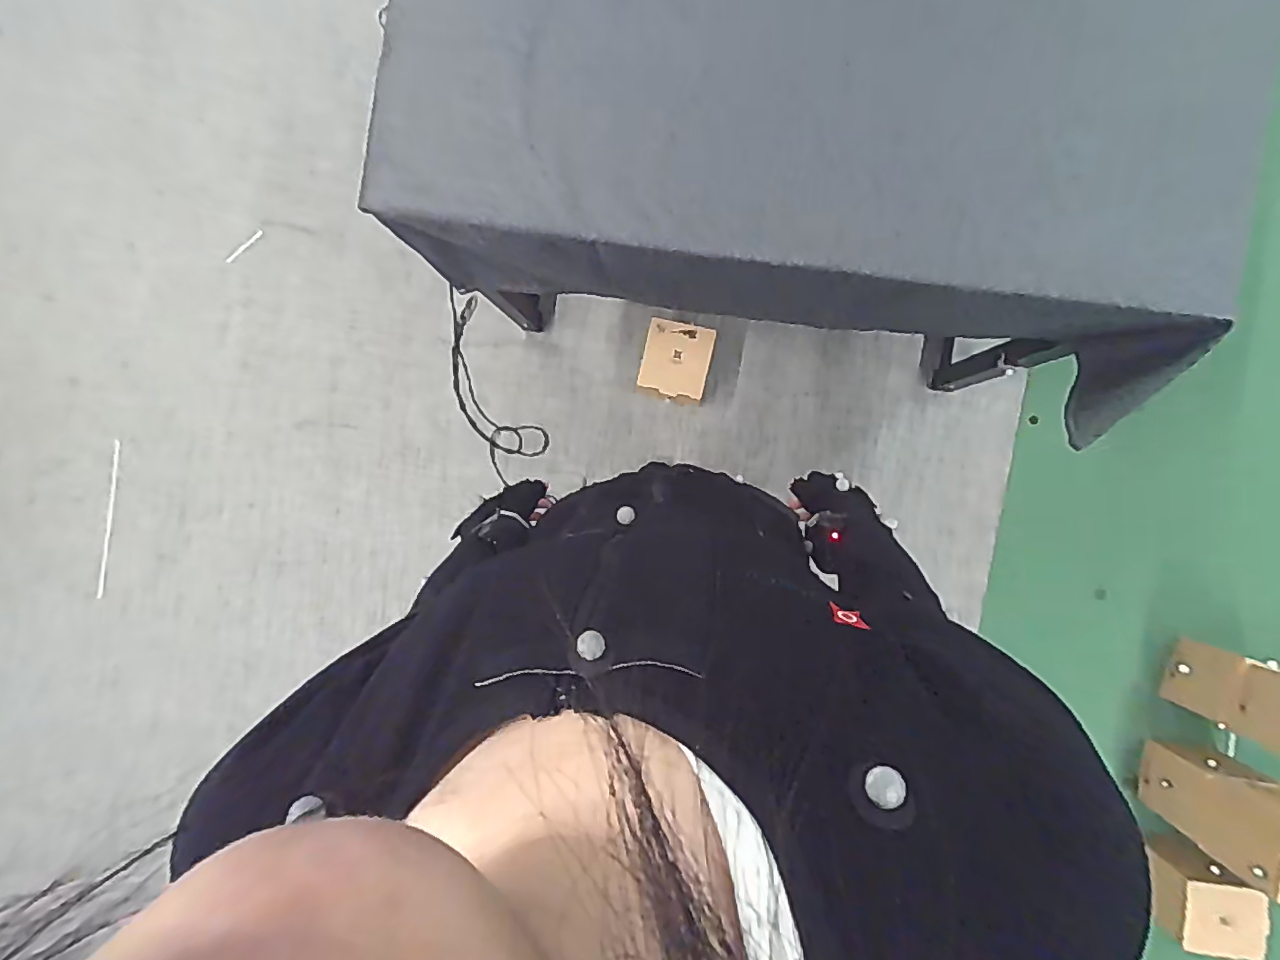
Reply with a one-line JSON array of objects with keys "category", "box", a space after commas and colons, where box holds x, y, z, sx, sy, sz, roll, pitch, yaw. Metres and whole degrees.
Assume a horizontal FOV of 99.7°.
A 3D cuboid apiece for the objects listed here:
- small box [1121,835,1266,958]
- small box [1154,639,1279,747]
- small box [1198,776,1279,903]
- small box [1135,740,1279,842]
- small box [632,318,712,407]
[{"category": "small box", "box": [1.339, 1.004, 1.317, 0.179, 0.176, 0.168, 4, 91, 4]}, {"category": "small box", "box": [1.424, 0.506, 1.306, 0.179, 0.176, 0.168, 20, 91, 5]}, {"category": "small box", "box": [1.358, 0.767, 1.150, 0.168, 0.176, 0.179, 10, 92, 4]}, {"category": "small box", "box": [1.365, 0.758, 1.312, 0.179, 0.176, 0.168, 7, 91, 3]}, {"category": "small box", "box": [0.085, -0.294, 1.390, 0.168, 0.176, 0.179, 13, 92, 4]}]
